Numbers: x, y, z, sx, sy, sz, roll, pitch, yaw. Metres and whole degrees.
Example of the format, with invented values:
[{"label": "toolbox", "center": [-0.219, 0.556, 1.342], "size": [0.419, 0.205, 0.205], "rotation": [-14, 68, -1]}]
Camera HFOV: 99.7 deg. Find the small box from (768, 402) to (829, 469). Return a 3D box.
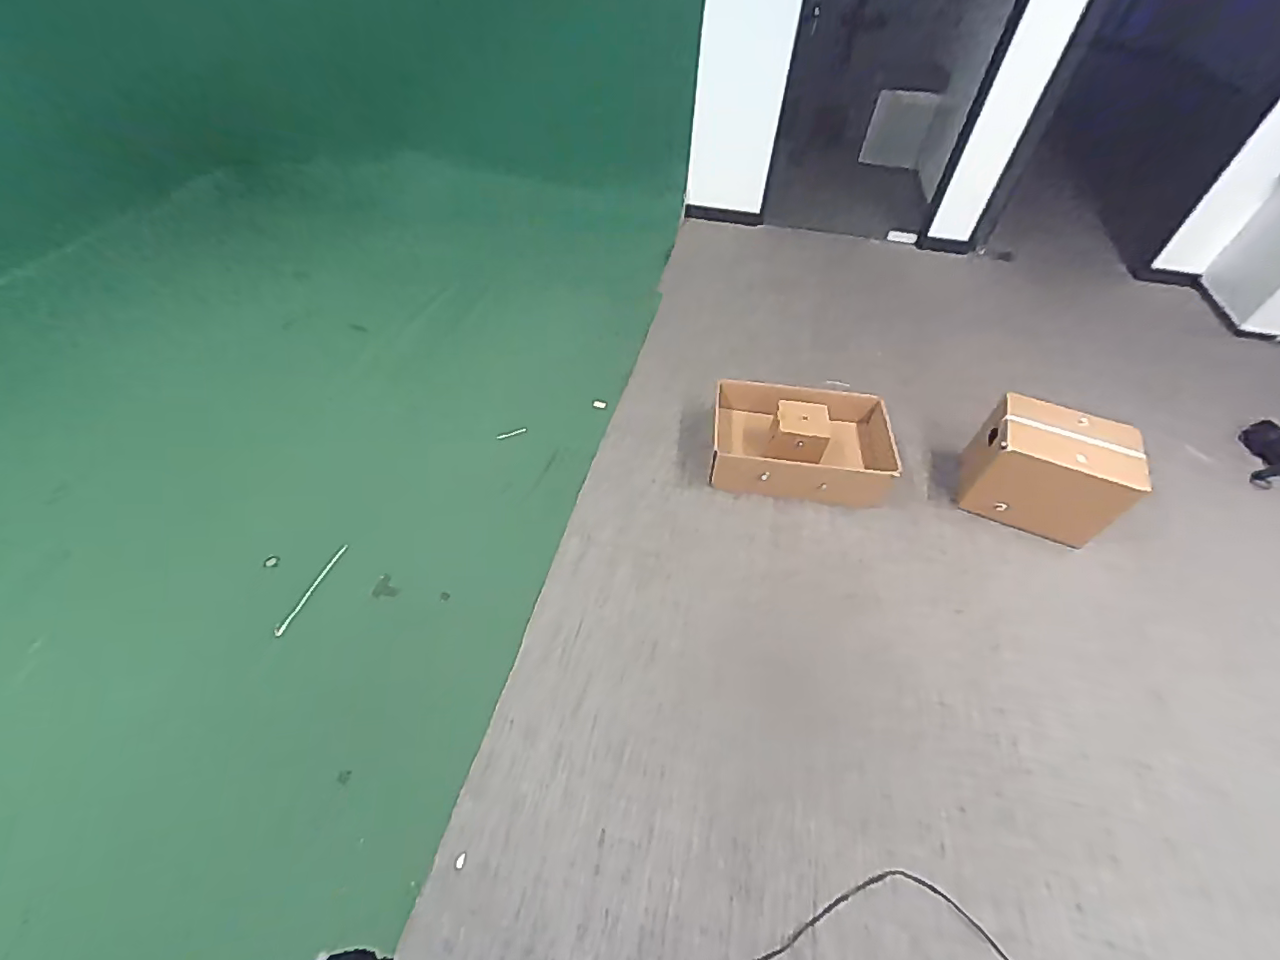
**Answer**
[{"label": "small box", "center": [0.562, -0.157, 1.946], "size": [0.179, 0.176, 0.168], "rotation": [9, 50, 2]}]
